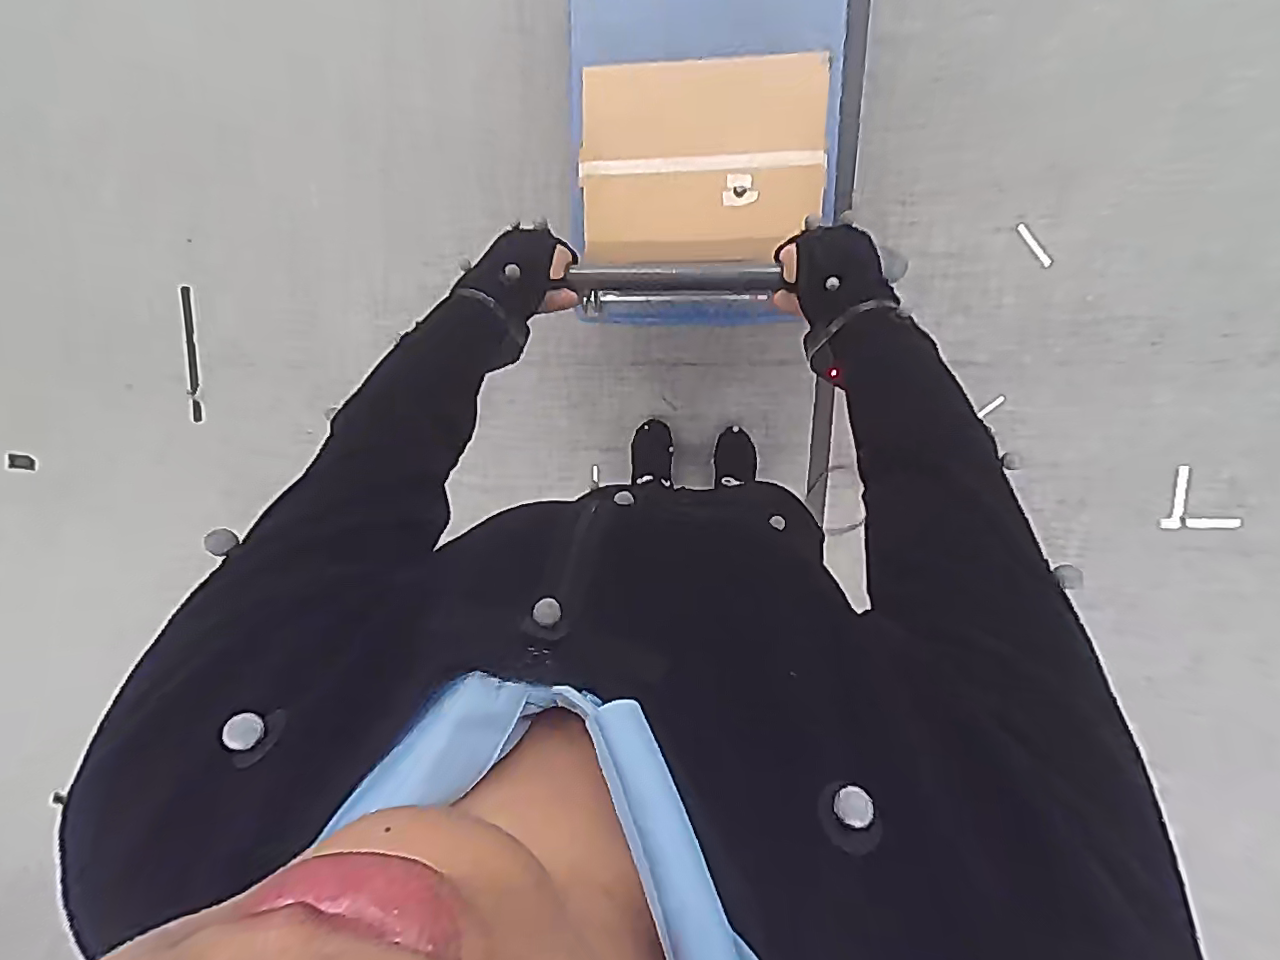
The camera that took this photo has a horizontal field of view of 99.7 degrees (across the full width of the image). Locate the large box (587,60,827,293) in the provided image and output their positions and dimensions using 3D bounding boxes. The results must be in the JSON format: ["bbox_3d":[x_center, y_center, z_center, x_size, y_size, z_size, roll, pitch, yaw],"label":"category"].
[{"bbox_3d":[0.123,-0.559,1.069,0.408,0.320,0.320,1,101,6],"label":"large box"}]
